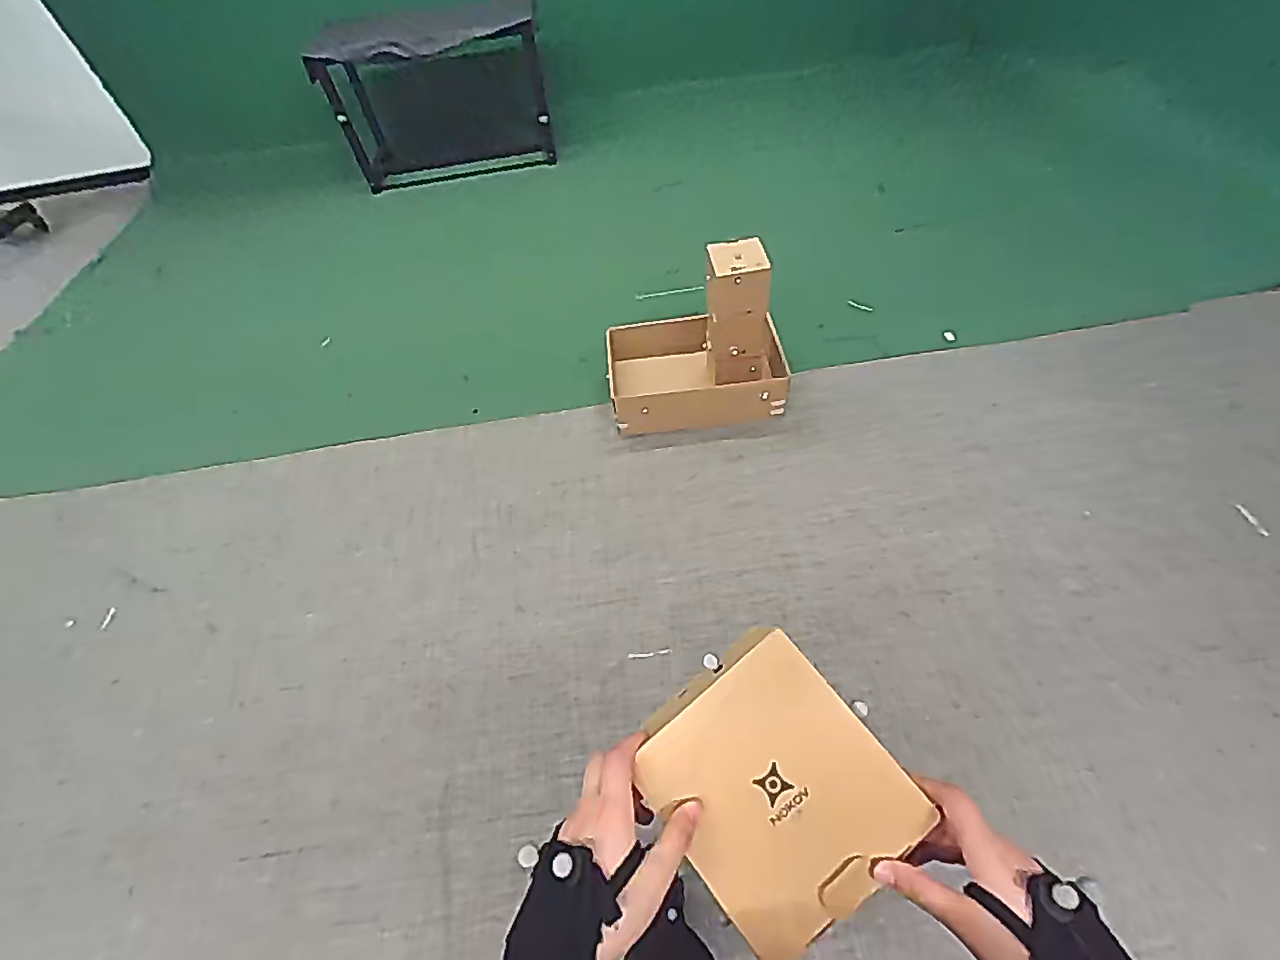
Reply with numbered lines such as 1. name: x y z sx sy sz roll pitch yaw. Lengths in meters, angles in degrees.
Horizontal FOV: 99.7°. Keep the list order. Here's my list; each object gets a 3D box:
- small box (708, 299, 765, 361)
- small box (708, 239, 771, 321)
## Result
1. small box: 0.323 -0.532 1.836 0.168 0.176 0.179 -6 54 4
2. small box: 0.306 -0.628 1.704 0.168 0.176 0.179 -9 52 2
